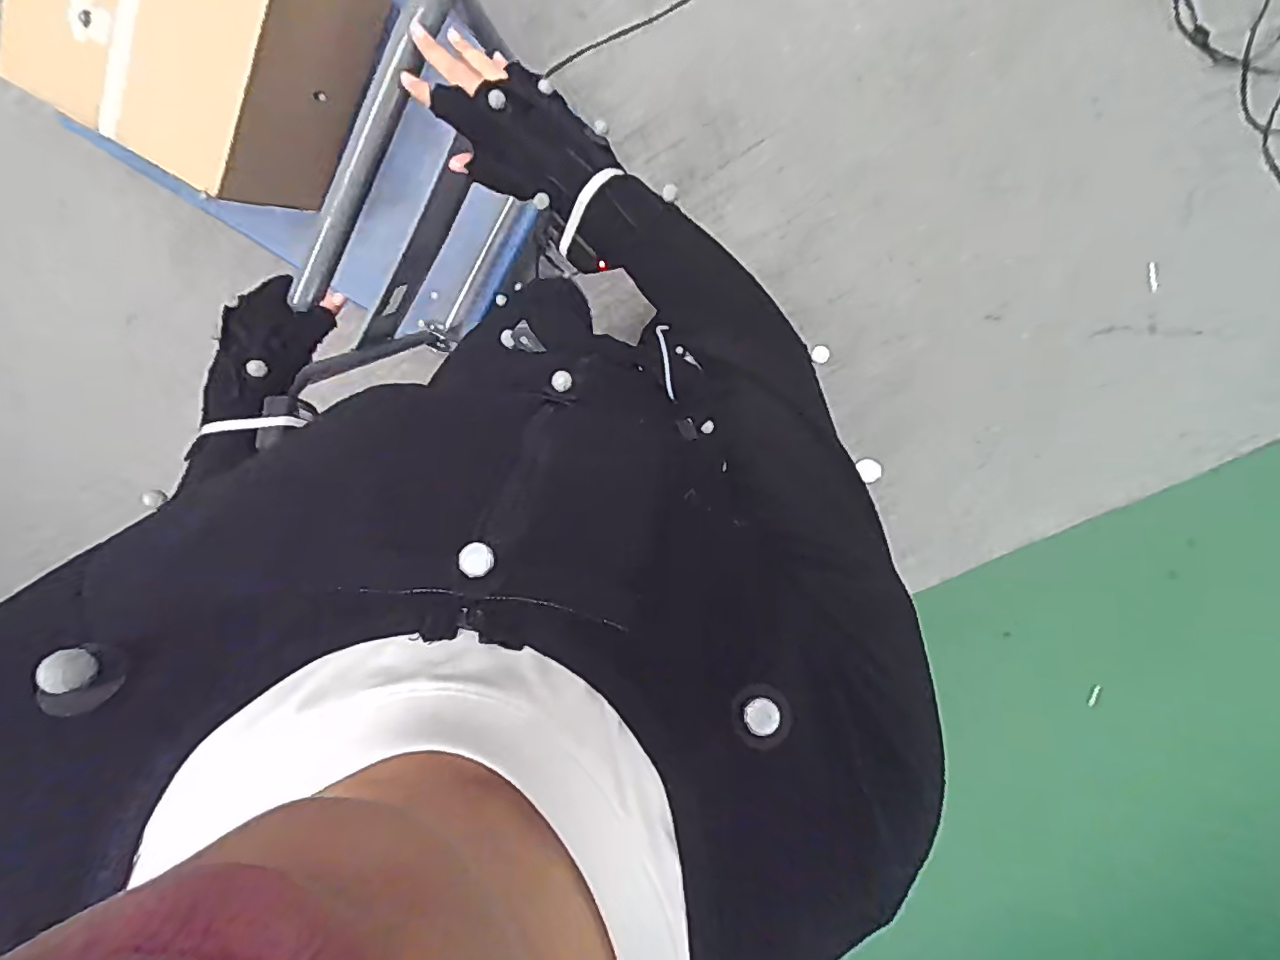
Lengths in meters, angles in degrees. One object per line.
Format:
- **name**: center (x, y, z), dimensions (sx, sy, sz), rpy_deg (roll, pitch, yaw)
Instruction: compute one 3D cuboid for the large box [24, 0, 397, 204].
- **large box**: center (-0.667, -0.734, 0.887), dimensions (0.320, 0.320, 0.408), rpy_deg (30, 111, -11)
